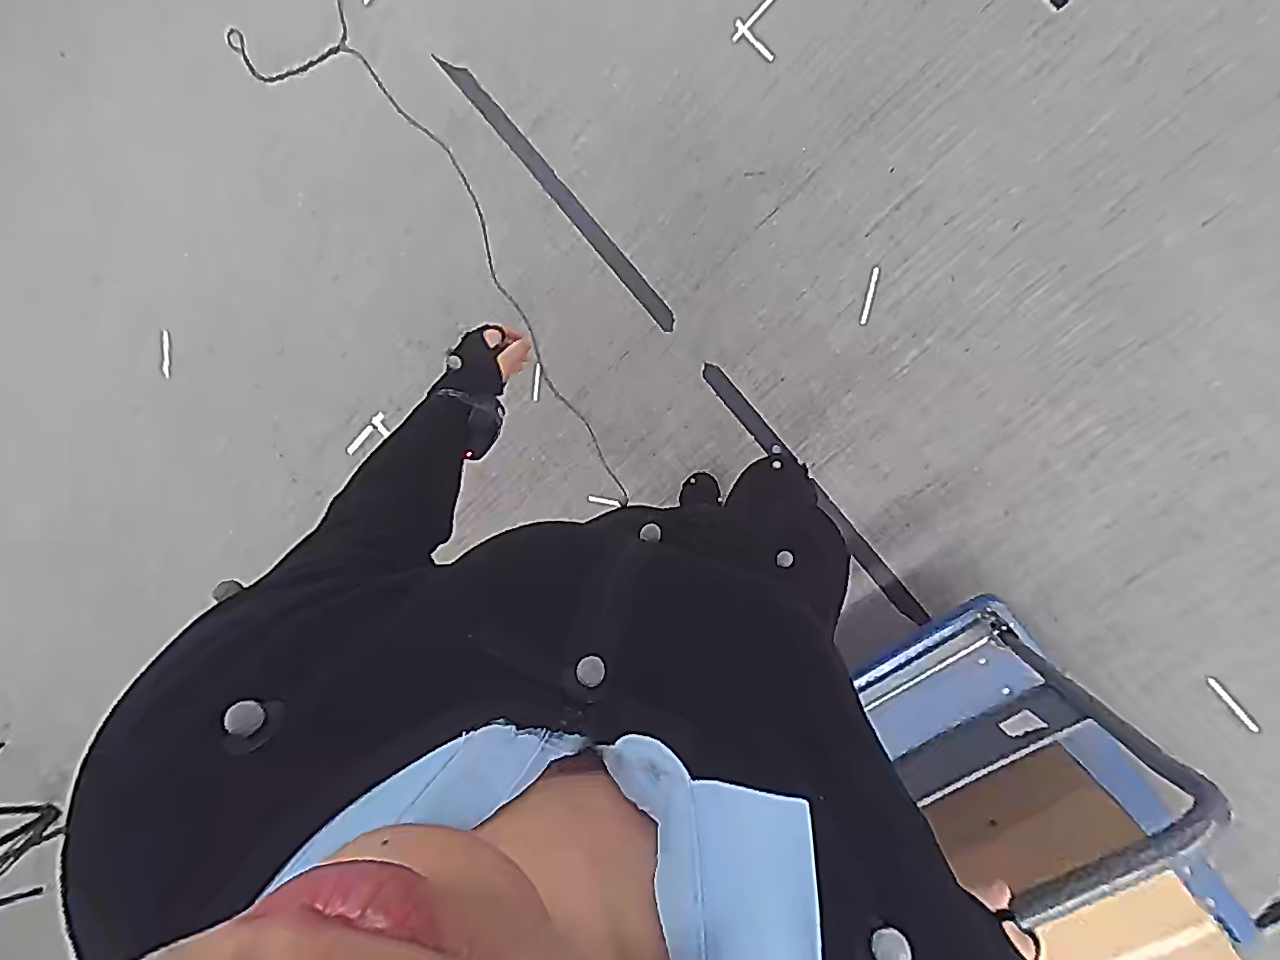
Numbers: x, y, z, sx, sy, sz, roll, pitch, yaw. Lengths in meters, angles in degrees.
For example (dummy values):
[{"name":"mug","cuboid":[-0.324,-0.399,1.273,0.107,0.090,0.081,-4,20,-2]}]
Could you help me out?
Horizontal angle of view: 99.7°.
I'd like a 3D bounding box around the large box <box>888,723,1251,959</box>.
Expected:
[{"name":"large box","cuboid":[0.792,0.778,1.081,0.408,0.320,0.320,-37,88,11]}]
